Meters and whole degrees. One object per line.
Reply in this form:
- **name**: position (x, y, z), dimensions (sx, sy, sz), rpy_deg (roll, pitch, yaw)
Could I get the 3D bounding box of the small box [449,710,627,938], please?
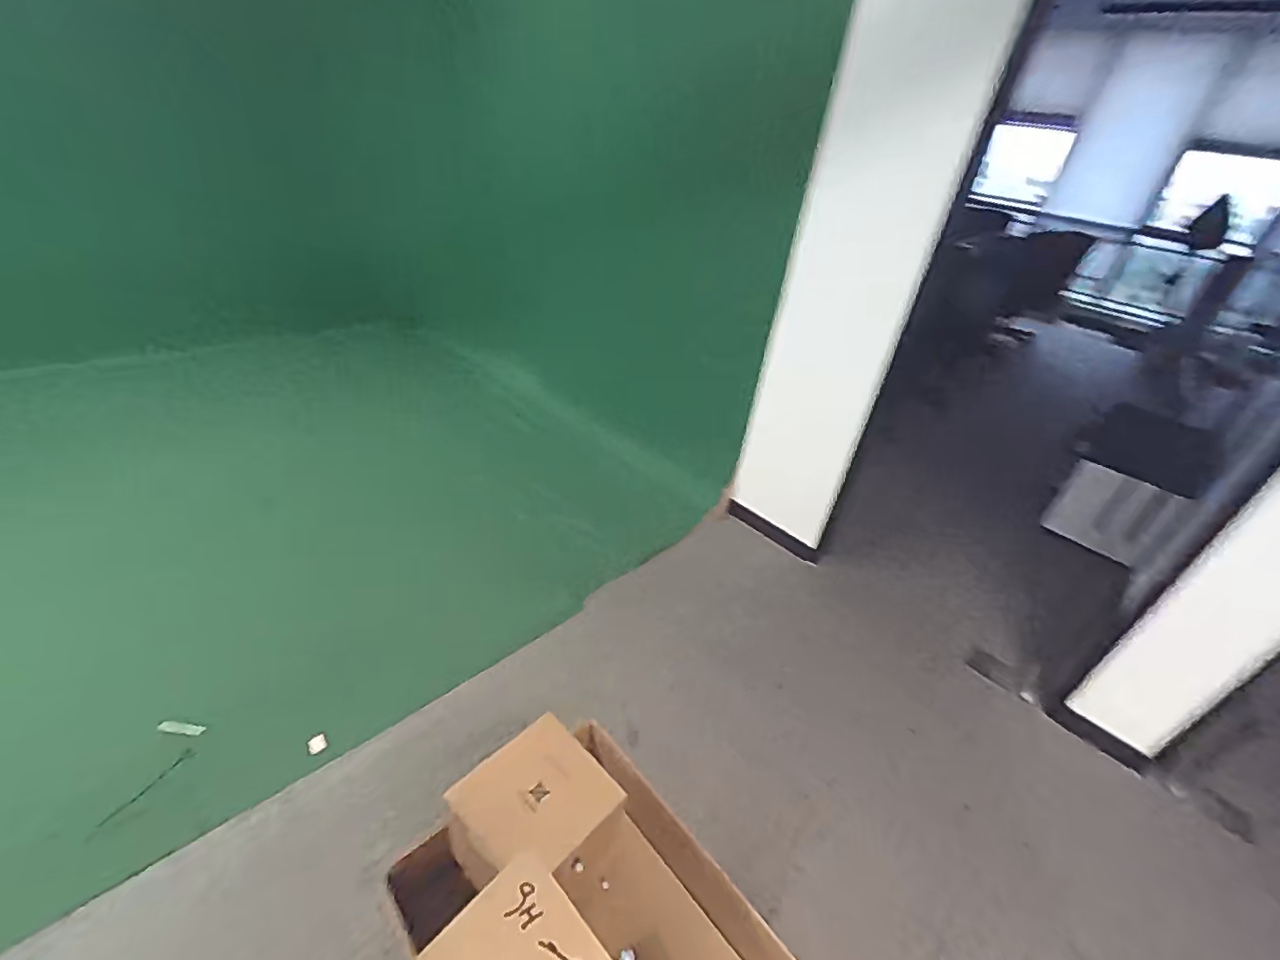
- **small box**: position (-0.138, 0.471, 0.749), dimensions (0.168, 0.176, 0.179), rpy_deg (34, 42, 31)
